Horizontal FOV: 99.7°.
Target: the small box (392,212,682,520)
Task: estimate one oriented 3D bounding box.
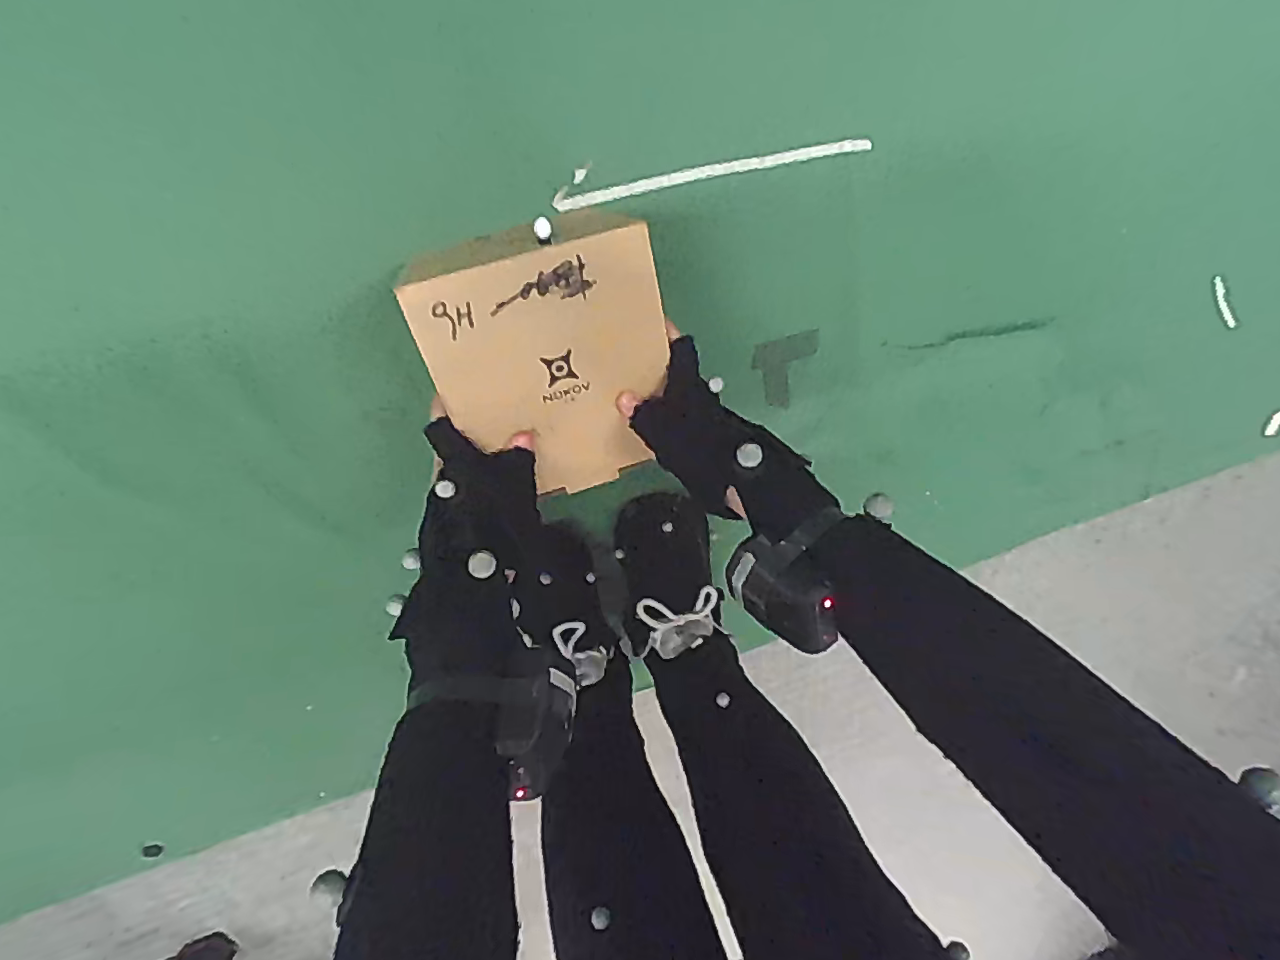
[{"bbox_3d":[-0.078,-0.102,0.442,0.168,0.176,0.179,-18,124,-8],"label":"small box"}]
